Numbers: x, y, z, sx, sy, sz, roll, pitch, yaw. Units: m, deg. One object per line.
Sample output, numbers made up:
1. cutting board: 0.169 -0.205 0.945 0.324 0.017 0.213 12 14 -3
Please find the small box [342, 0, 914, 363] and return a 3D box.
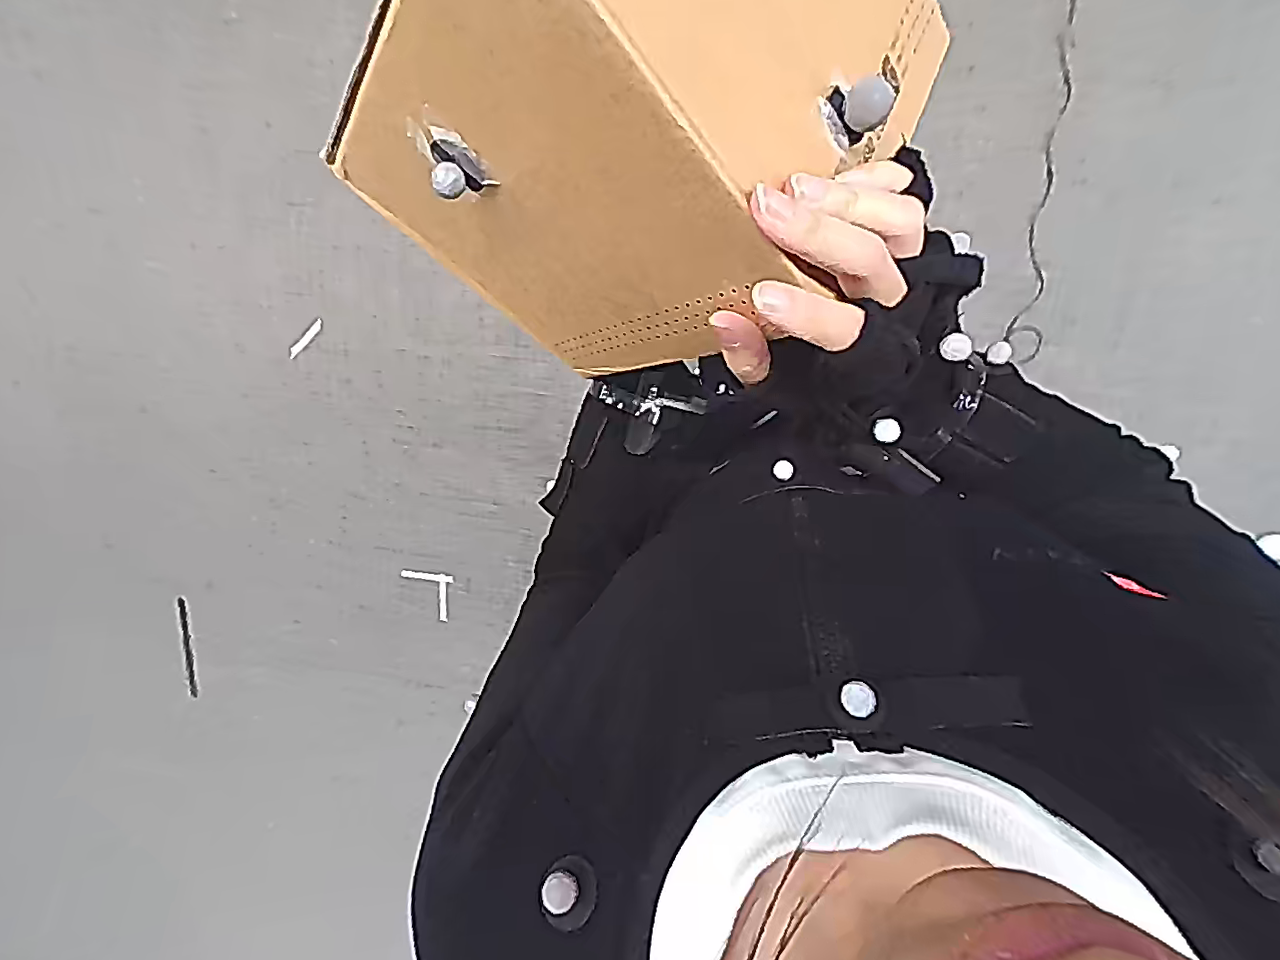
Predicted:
1. small box: -0.005 -0.174 0.261 0.176 0.179 0.168 35 72 -34
